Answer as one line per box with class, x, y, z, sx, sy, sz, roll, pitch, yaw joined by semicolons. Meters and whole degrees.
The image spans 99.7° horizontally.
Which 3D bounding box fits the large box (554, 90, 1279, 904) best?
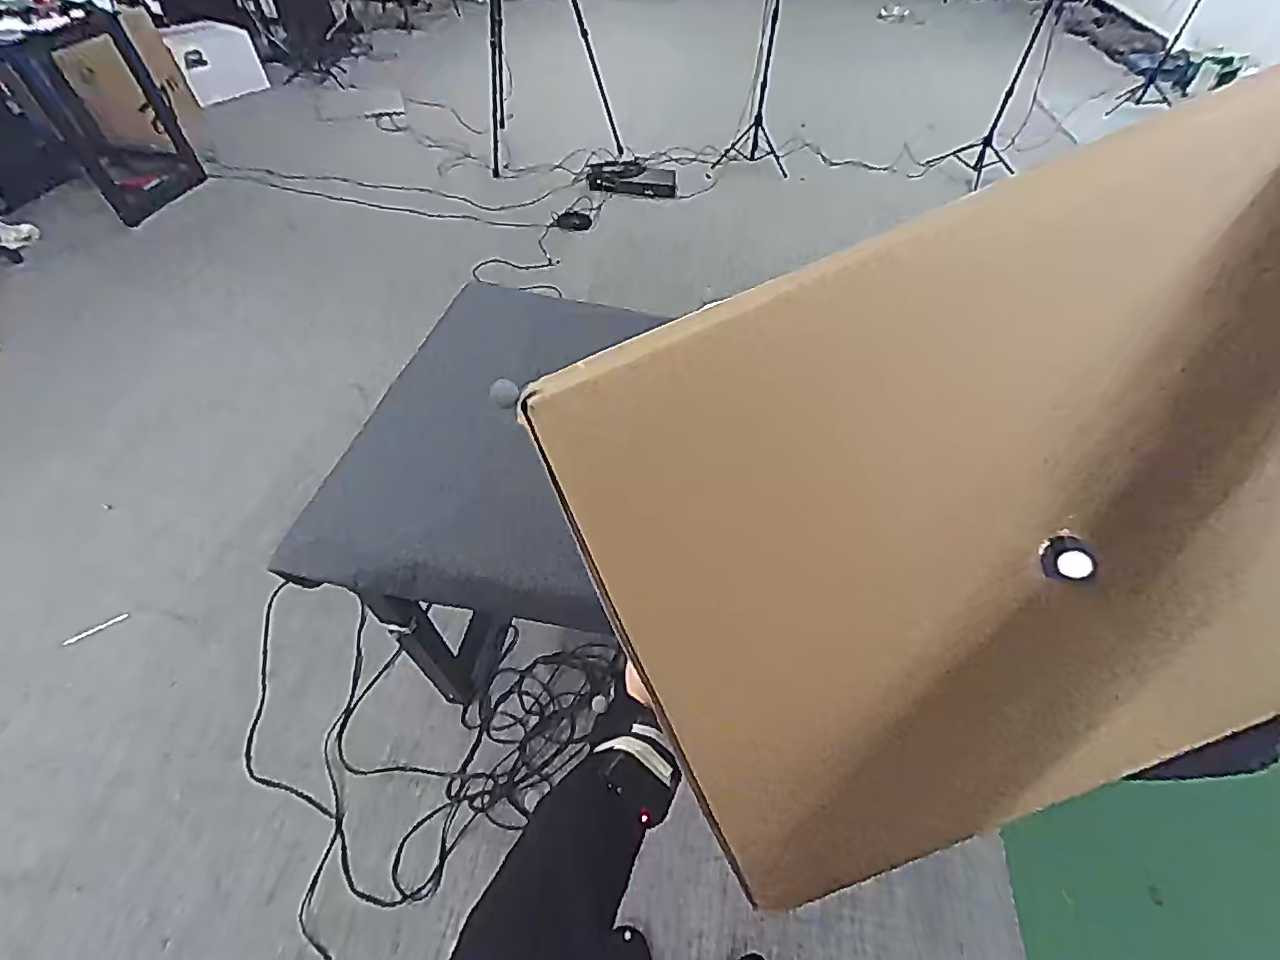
large box;0.187;0.001;0.416;0.408;0.320;0.320;-25;13;0
